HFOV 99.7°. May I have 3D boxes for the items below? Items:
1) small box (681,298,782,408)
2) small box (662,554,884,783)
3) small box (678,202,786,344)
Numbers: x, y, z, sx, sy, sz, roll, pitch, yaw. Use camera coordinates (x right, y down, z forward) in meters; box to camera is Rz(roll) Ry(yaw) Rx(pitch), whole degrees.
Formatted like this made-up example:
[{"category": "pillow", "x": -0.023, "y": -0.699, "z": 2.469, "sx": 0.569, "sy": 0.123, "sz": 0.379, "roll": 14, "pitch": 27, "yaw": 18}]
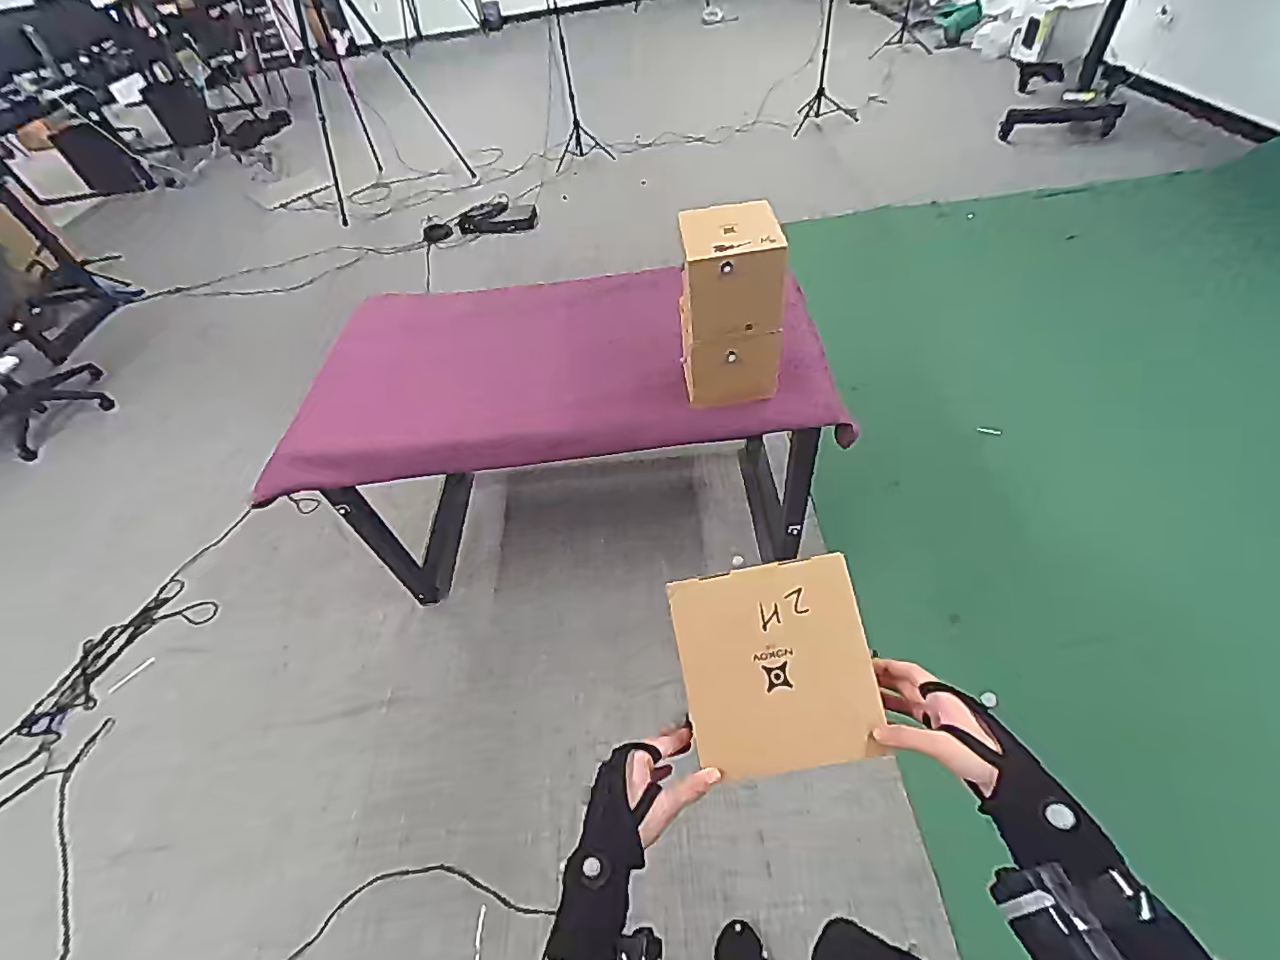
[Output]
[{"category": "small box", "x": 0.184, "y": -0.270, "z": 1.114, "sx": 0.179, "sy": 0.176, "sz": 0.168, "roll": -9, "pitch": 50, "yaw": 4}, {"category": "small box", "x": 0.121, "y": 0.180, "z": 0.558, "sx": 0.168, "sy": 0.176, "sz": 0.179, "roll": -11, "pitch": 78, "yaw": 1}, {"category": "small box", "x": 0.163, "y": -0.376, "z": 0.991, "sx": 0.168, "sy": 0.176, "sz": 0.179, "roll": -9, "pitch": 50, "yaw": 5}]
